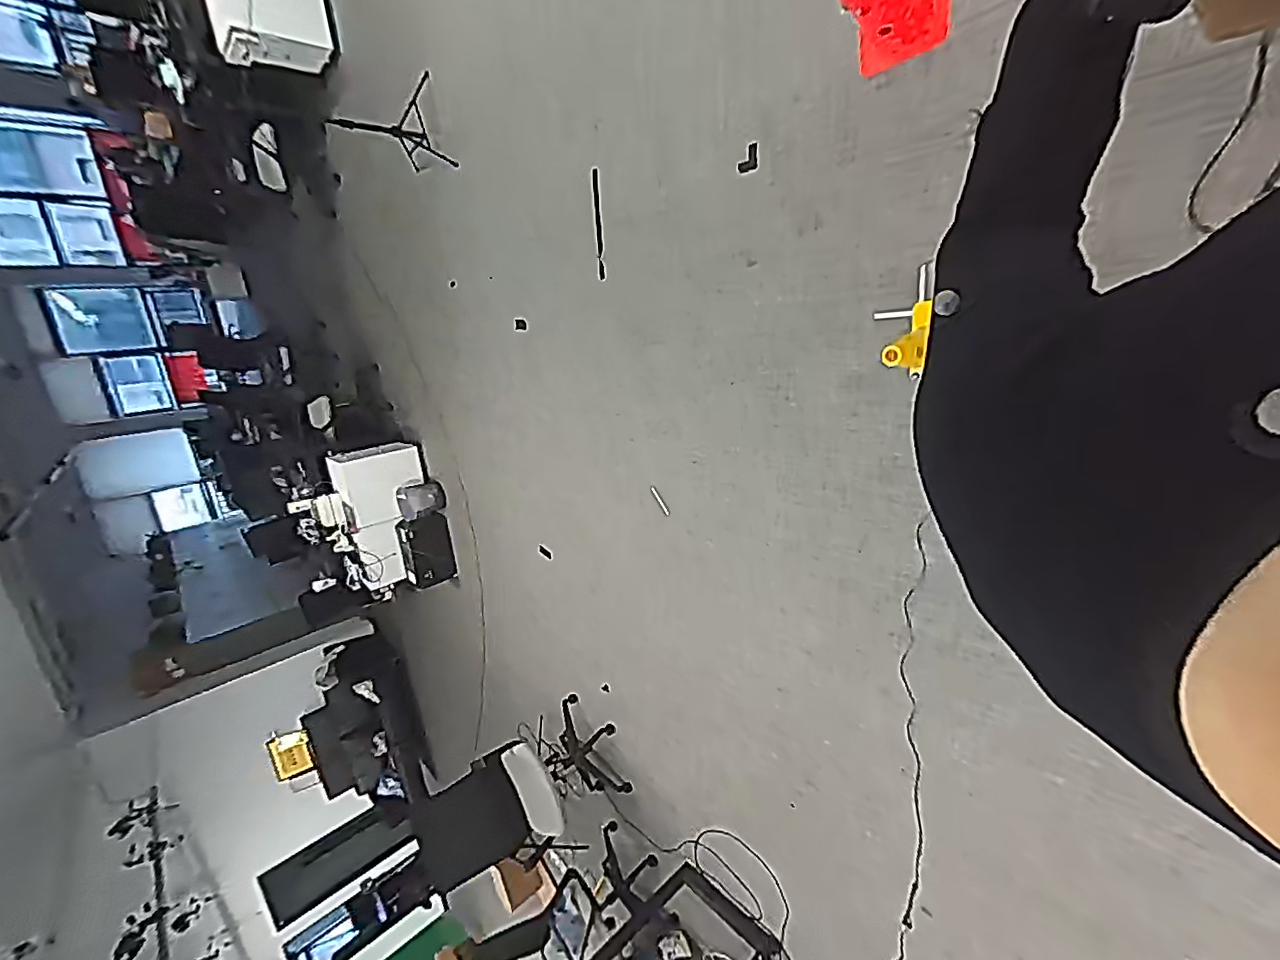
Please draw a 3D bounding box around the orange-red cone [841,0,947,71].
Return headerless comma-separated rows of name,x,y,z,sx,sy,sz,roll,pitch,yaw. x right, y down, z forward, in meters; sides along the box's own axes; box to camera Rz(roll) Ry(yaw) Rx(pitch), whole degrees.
orange-red cone,0.464,-1.023,1.116,0.198,0.360,0.199,11,114,48
